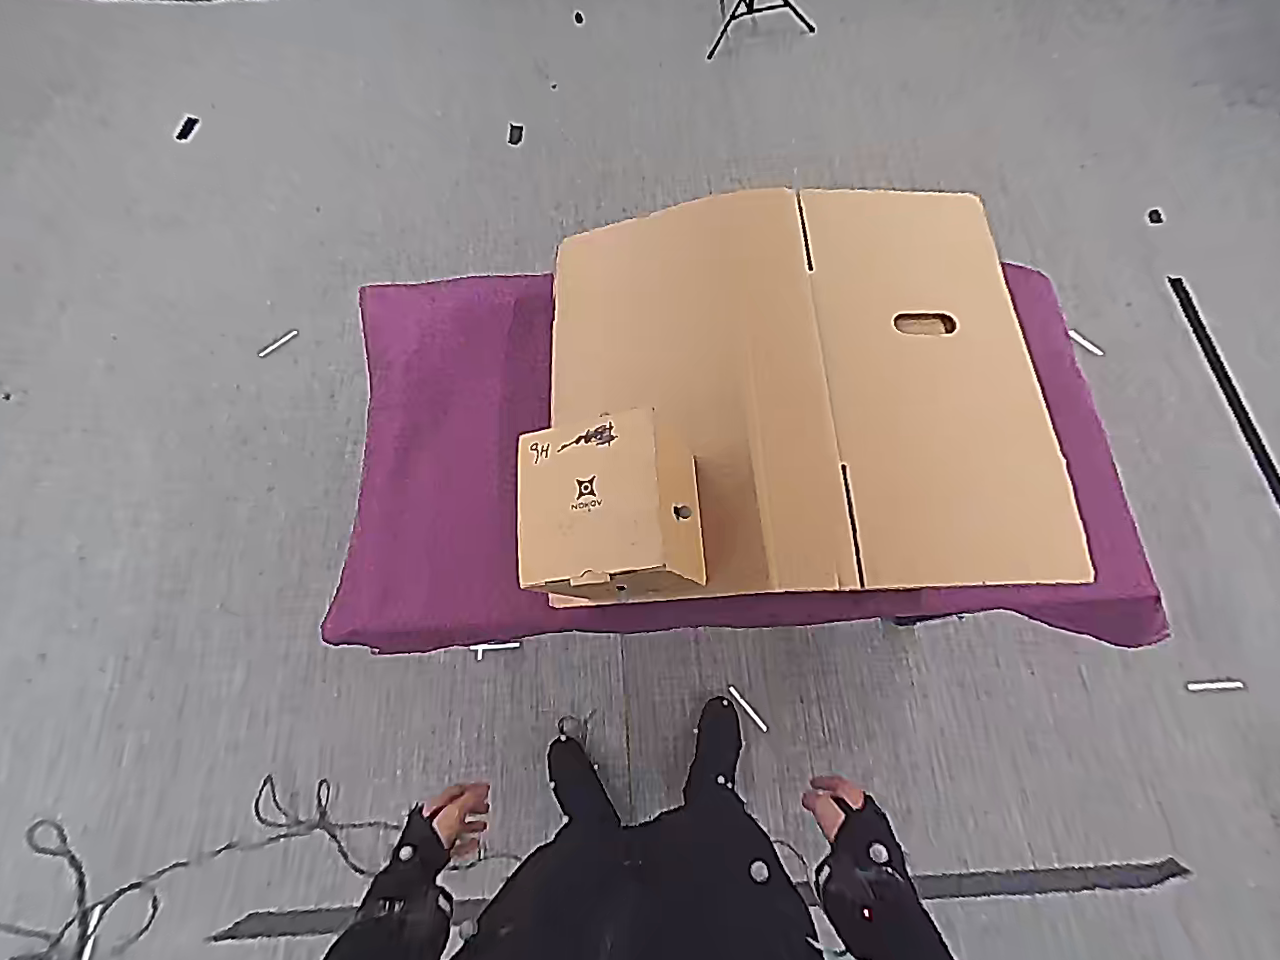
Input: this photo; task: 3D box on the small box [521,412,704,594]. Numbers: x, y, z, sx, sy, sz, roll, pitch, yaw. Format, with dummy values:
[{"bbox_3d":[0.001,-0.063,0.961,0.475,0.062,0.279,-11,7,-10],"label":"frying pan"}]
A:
[{"bbox_3d":[-0.027,0.041,0.648,0.168,0.176,0.179,-10,71,18],"label":"small box"}]
